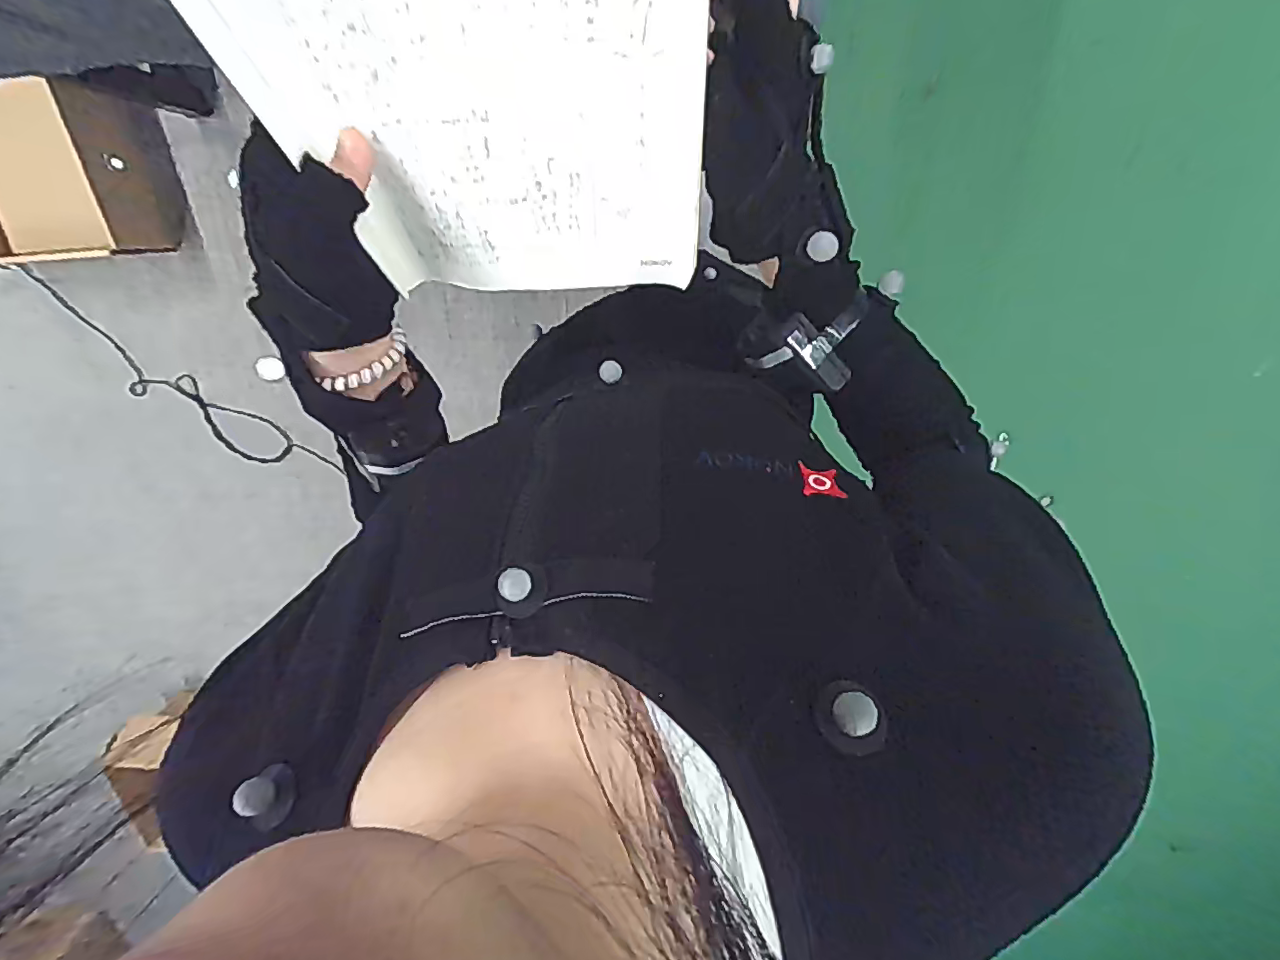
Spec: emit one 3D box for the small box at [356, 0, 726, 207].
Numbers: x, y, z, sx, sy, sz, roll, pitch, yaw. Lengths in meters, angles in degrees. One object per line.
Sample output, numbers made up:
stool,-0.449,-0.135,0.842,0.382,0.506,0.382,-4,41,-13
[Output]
small box,-0.048,-0.282,0.304,0.168,0.176,0.179,-8,130,10
